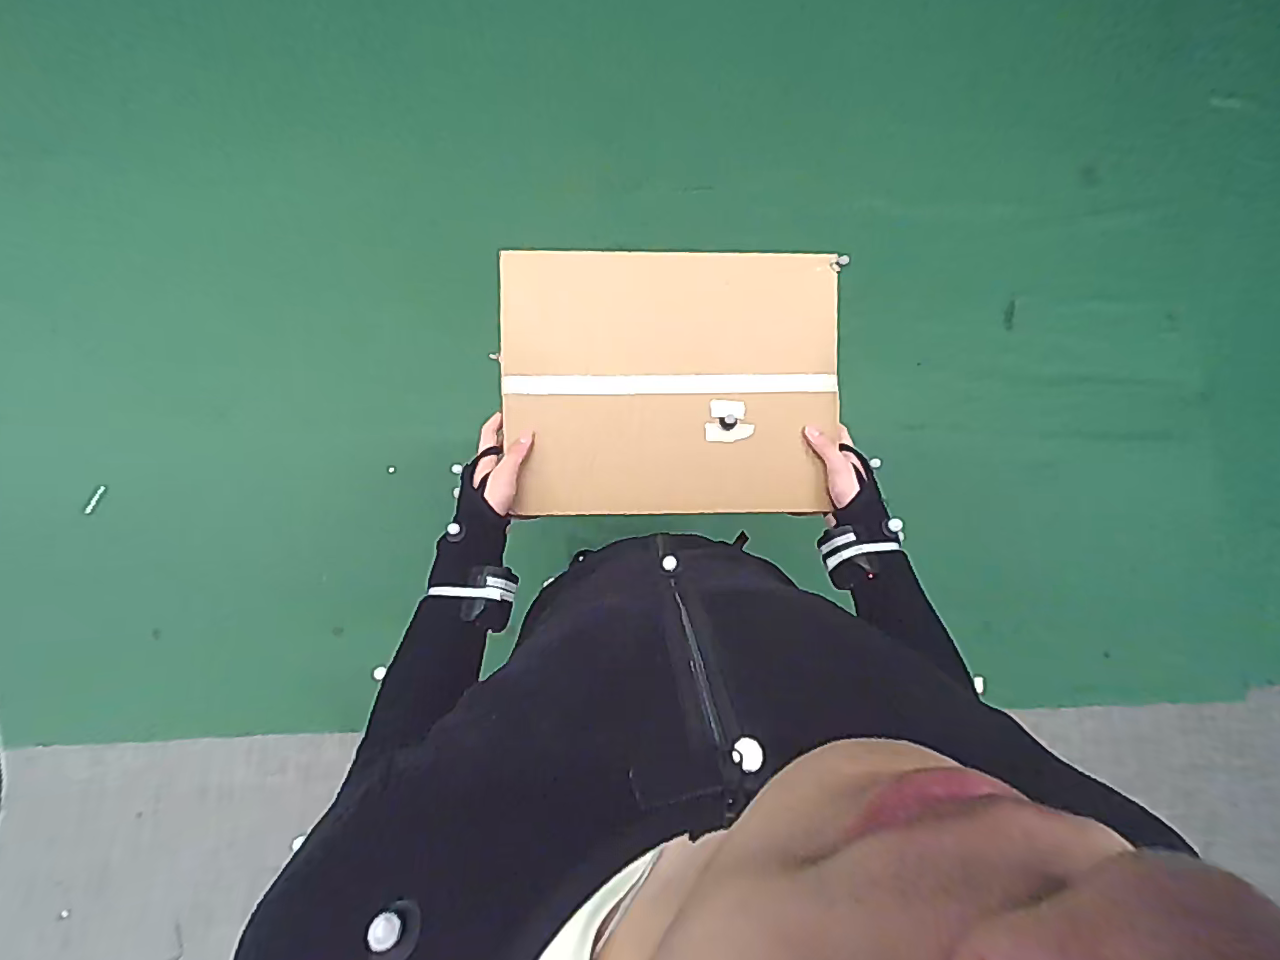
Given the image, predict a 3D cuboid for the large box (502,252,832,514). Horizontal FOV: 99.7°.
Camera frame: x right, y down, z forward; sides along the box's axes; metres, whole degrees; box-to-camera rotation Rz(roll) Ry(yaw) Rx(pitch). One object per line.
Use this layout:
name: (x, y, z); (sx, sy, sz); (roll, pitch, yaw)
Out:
large box: (0.027, -0.125, 0.805); (0.408, 0.320, 0.320); (-1, 93, -4)
